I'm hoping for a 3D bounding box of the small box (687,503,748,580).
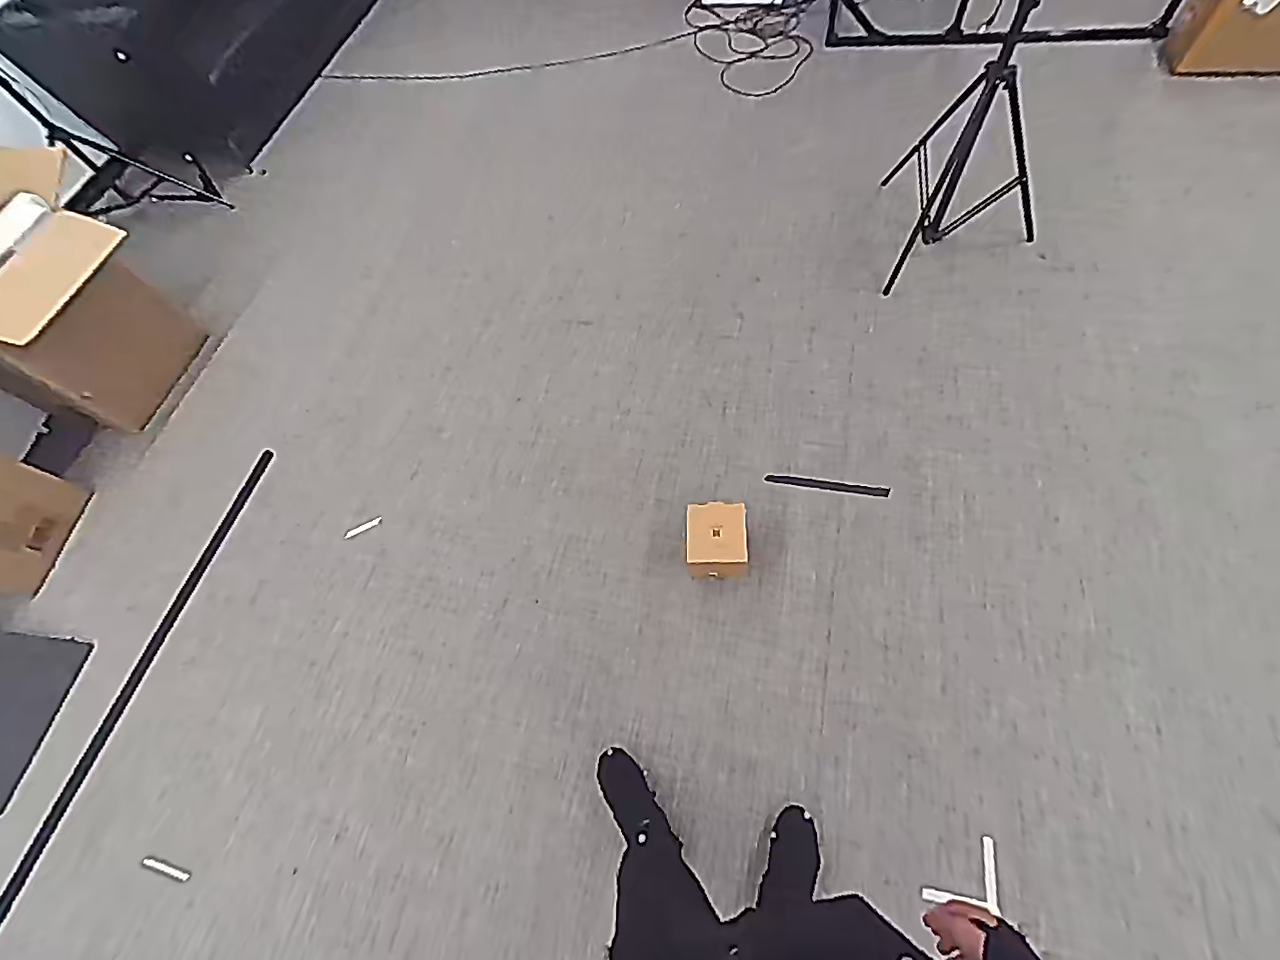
[{"bbox_3d":[0.223,0.178,1.556,0.168,0.176,0.179,-2,64,9],"label":"small box"}]
